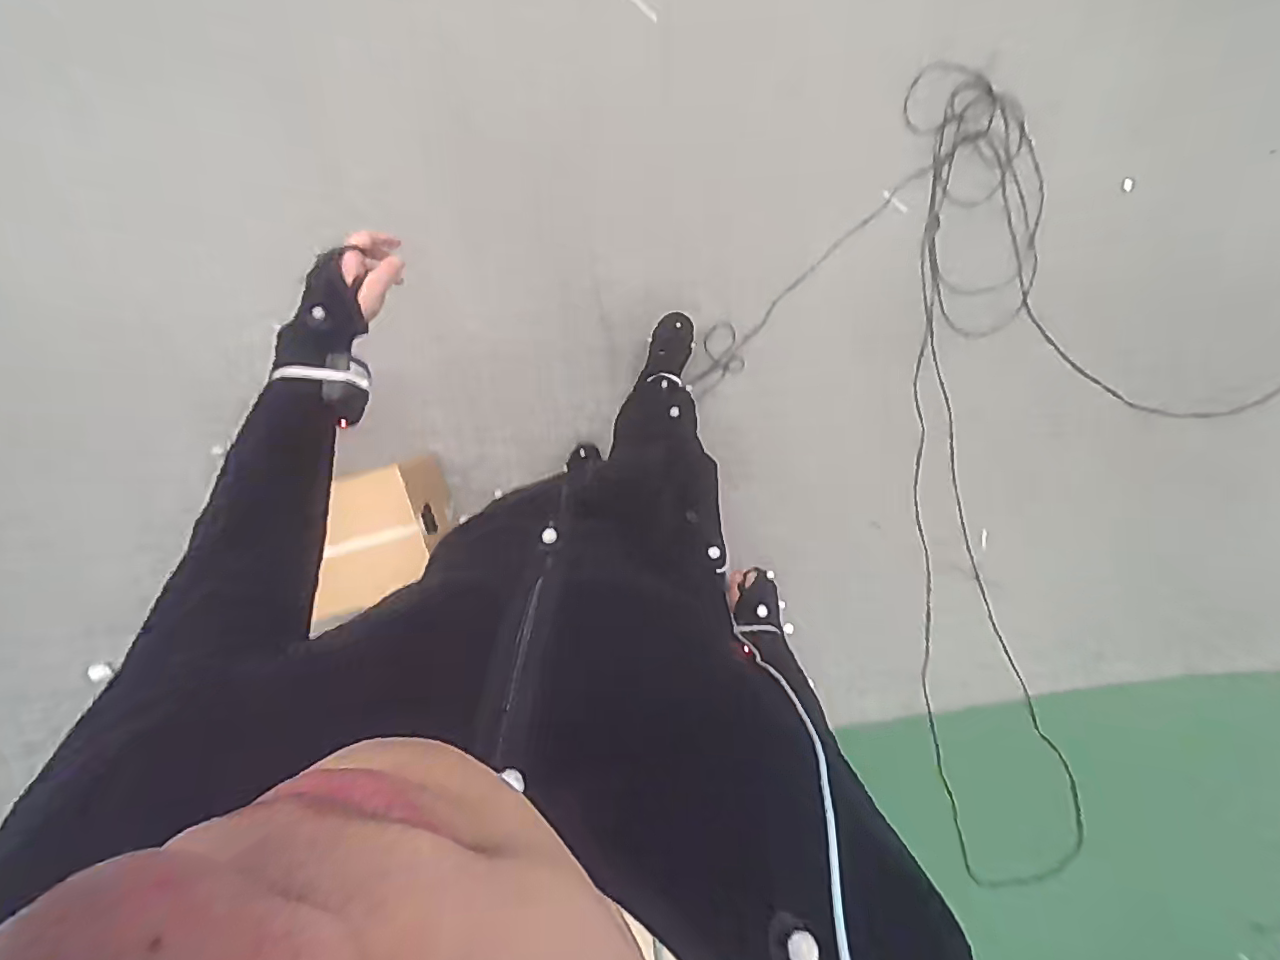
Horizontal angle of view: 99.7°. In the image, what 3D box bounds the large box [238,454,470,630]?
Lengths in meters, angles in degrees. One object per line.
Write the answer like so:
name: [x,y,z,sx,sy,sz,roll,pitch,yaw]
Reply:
large box: [-0.725,0.144,1.445,0.408,0.320,0.320,-15,100,-2]
